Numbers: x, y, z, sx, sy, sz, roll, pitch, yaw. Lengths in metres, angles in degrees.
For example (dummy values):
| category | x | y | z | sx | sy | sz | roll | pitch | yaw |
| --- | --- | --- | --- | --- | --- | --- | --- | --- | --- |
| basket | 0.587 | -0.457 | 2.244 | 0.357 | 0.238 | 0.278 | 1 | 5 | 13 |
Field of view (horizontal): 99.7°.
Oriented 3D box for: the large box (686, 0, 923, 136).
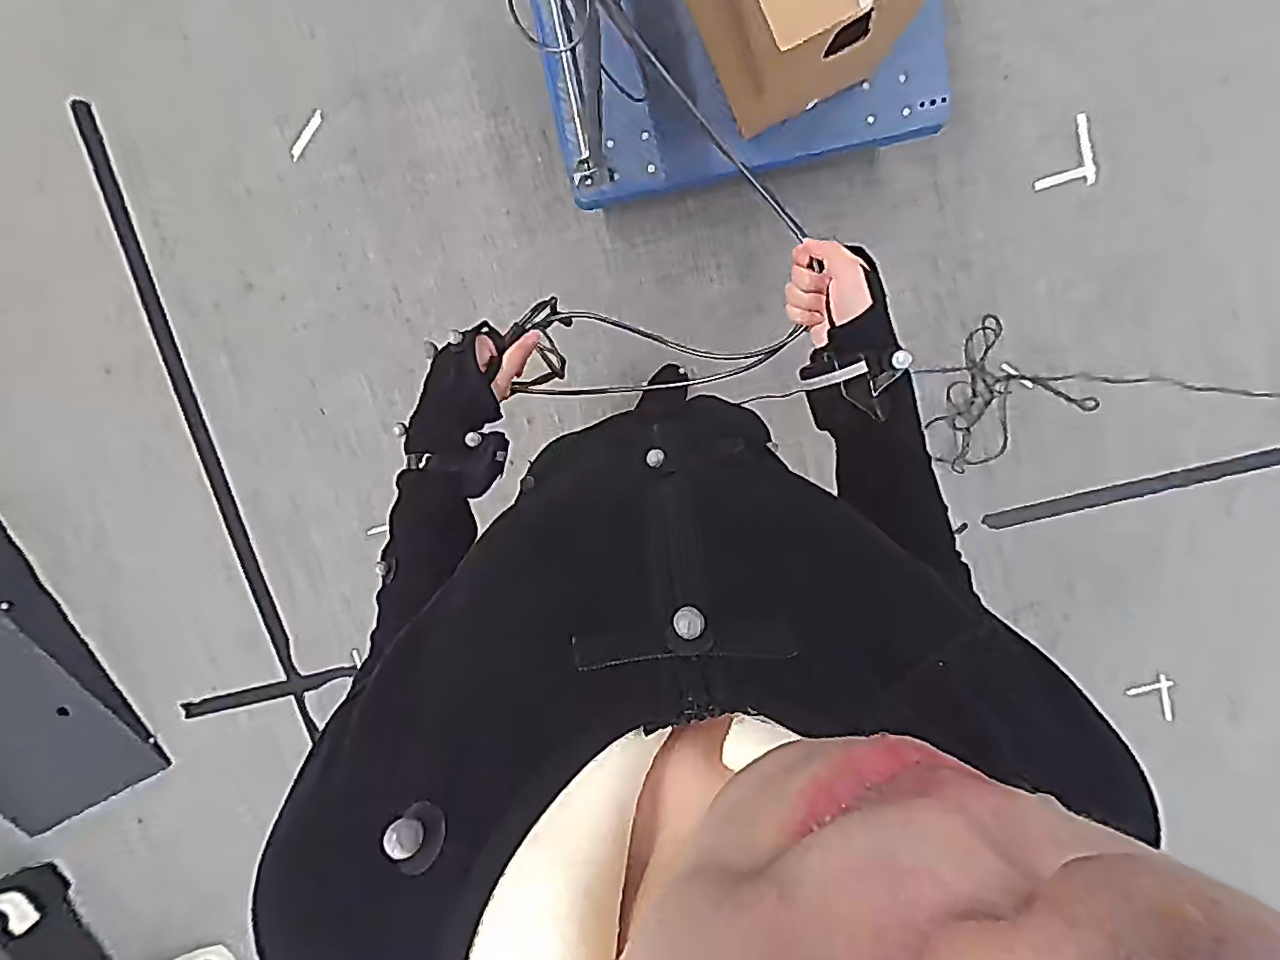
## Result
| category | x | y | z | sx | sy | sz | roll | pitch | yaw |
| --- | --- | --- | --- | --- | --- | --- | --- | --- | --- |
| large box | 0.283 | -0.977 | 1.019 | 0.320 | 0.320 | 0.408 | -26 | 99 | 4 |
